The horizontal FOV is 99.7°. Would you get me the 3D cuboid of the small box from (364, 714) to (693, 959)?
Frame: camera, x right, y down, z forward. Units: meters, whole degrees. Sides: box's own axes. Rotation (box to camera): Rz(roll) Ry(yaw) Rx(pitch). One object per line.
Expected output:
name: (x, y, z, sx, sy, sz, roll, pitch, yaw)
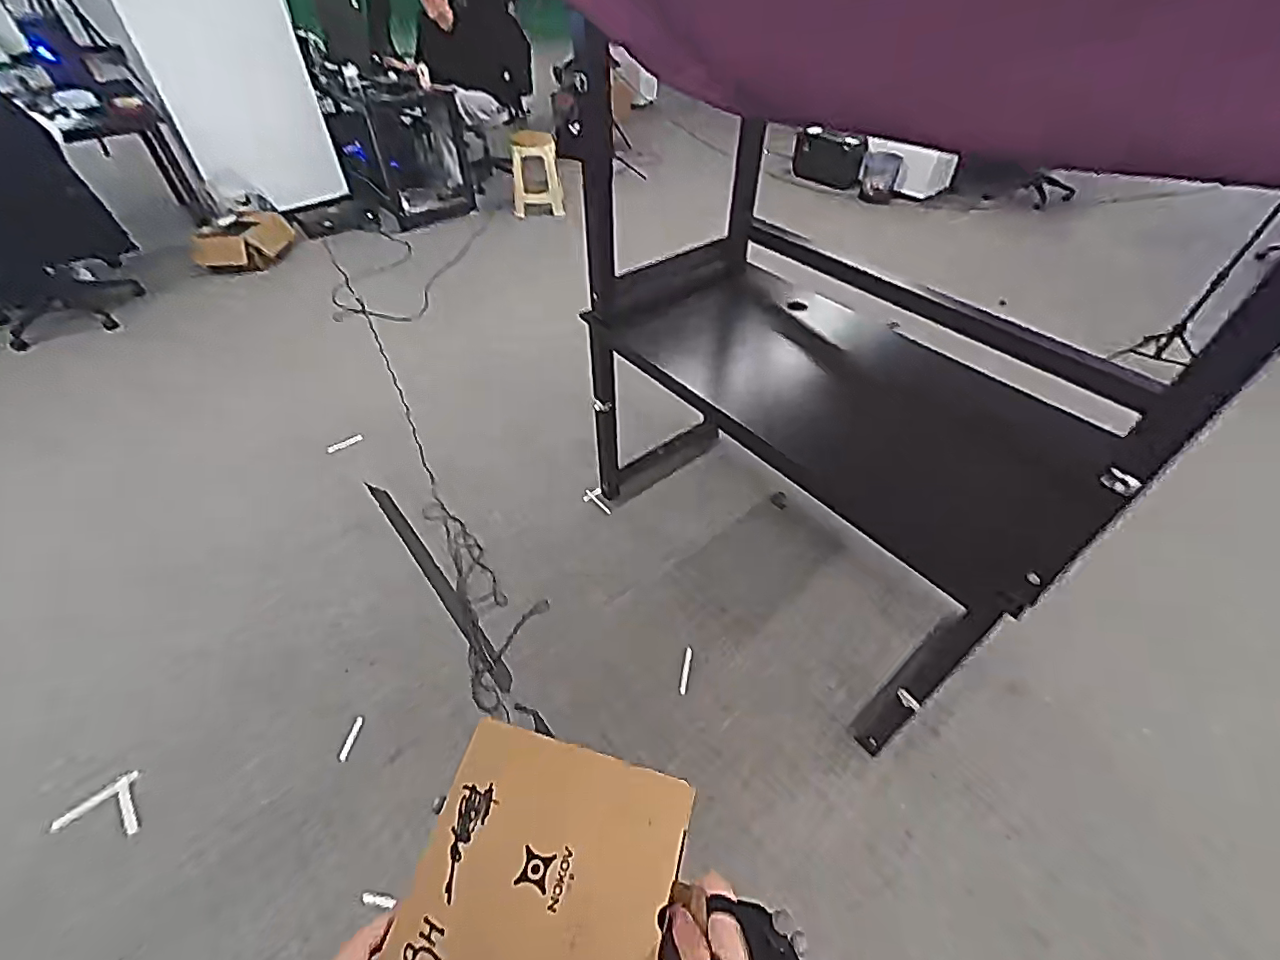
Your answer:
small box: (-0.072, 0.310, 0.424, 0.179, 0.176, 0.168, 16, 54, 7)
